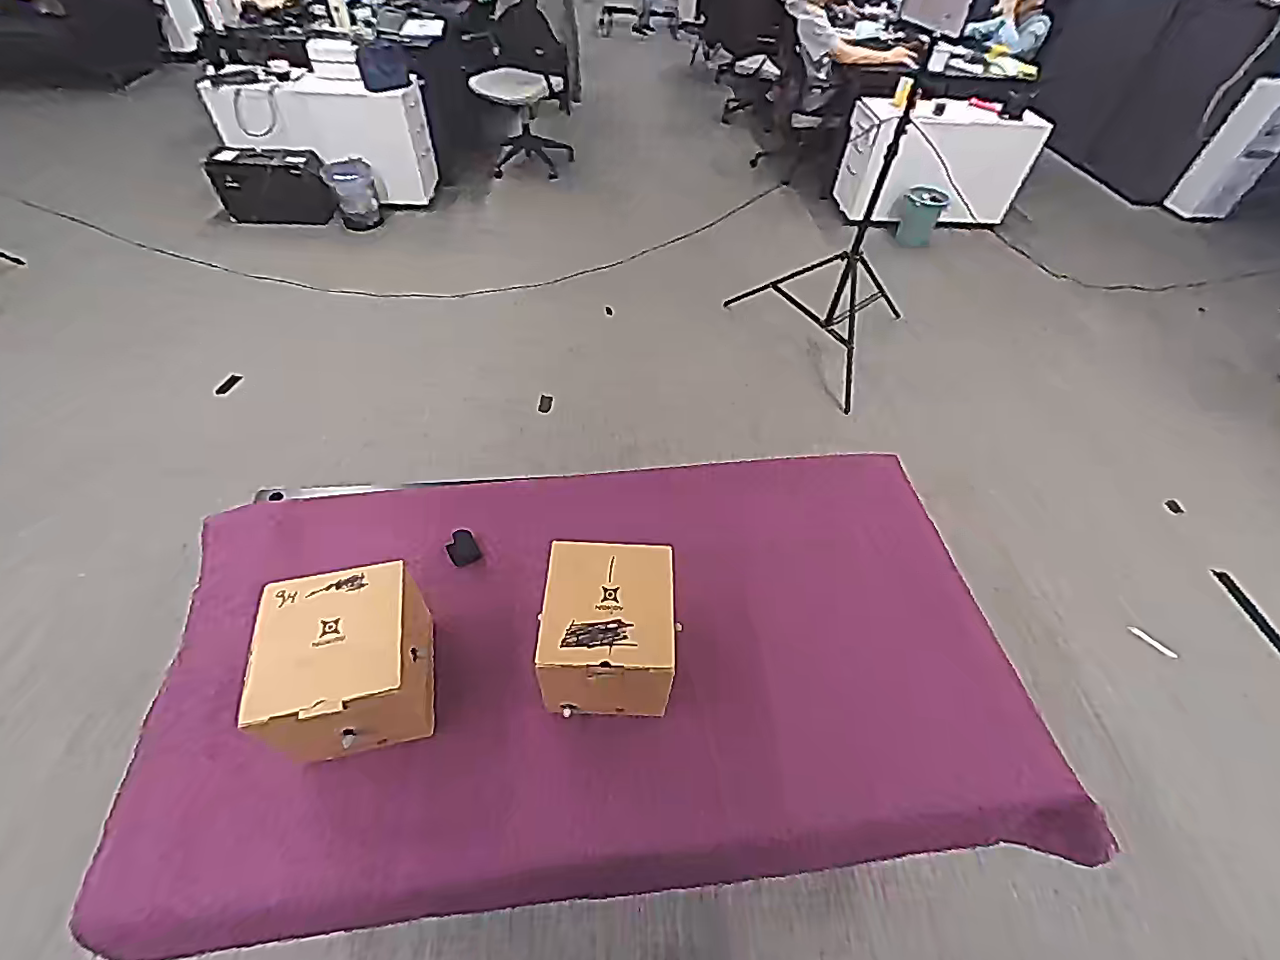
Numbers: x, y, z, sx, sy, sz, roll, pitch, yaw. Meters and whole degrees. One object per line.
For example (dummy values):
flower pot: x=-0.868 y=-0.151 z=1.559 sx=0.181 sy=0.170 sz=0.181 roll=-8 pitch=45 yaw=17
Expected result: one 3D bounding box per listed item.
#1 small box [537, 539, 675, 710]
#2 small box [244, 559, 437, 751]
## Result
small box: x=-0.040 y=0.202 z=0.744 sx=0.168 sy=0.176 sz=0.179 roll=3 pitch=48 yaw=-2
small box: x=-0.365 y=0.231 z=0.696 sx=0.168 sy=0.176 sz=0.179 roll=-9 pitch=51 yaw=-12
